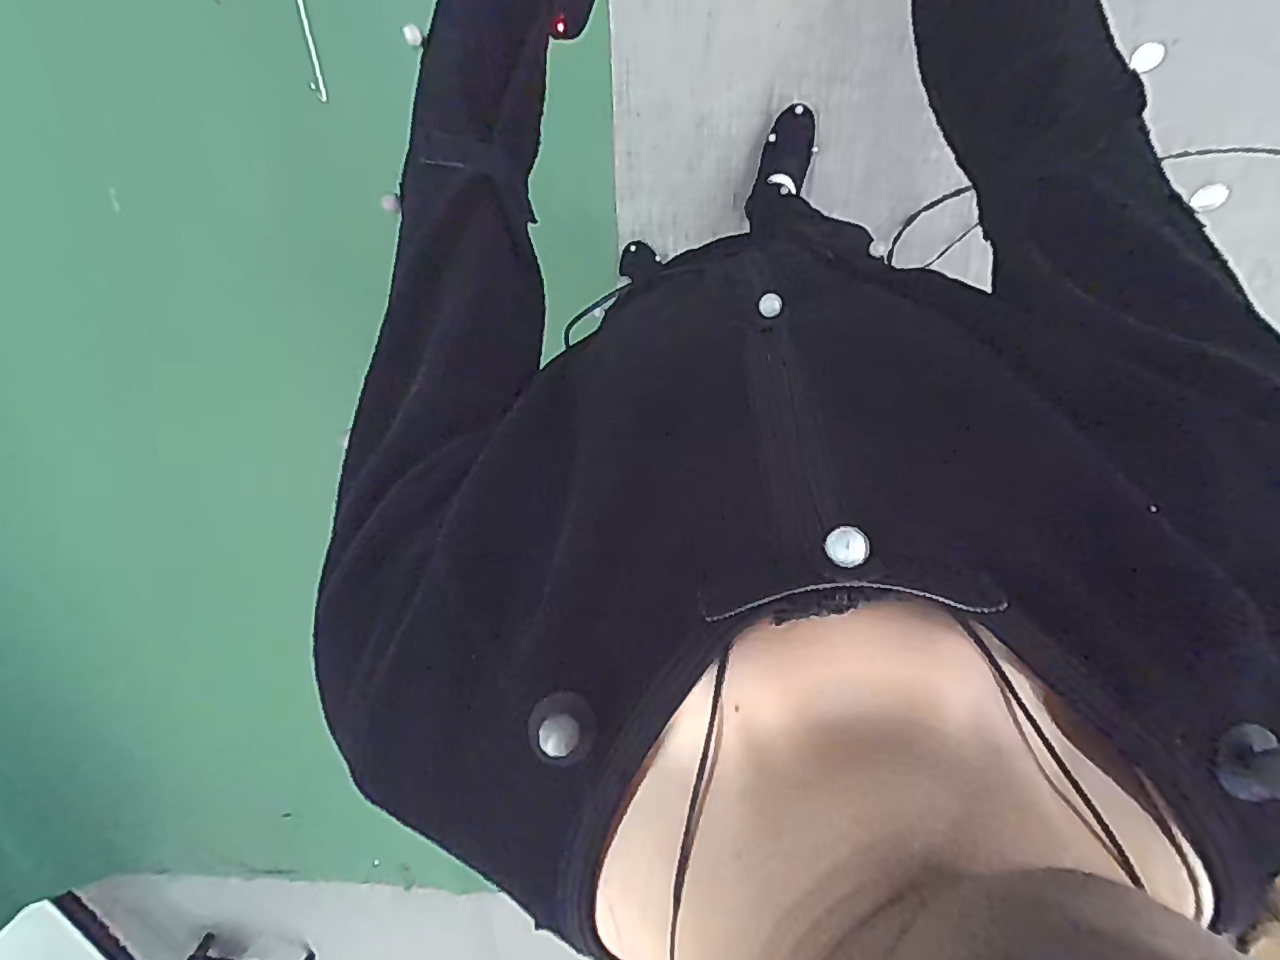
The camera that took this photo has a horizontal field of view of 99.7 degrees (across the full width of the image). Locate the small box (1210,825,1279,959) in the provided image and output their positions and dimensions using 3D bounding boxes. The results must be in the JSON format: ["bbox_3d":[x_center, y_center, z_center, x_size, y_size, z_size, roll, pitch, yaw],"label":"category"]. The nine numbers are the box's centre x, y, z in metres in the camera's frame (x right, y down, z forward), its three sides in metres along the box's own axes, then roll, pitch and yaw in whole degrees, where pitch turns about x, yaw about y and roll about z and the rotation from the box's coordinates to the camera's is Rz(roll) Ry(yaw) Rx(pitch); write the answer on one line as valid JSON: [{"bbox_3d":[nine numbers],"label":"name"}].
[{"bbox_3d":[0.991,0.621,0.769,0.179,0.176,0.168,-5,114,5],"label":"small box"}]

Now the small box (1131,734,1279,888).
[{"bbox_3d":[1.006,0.554,0.916,0.179,0.176,0.168,-3,115,6],"label":"small box"}]
